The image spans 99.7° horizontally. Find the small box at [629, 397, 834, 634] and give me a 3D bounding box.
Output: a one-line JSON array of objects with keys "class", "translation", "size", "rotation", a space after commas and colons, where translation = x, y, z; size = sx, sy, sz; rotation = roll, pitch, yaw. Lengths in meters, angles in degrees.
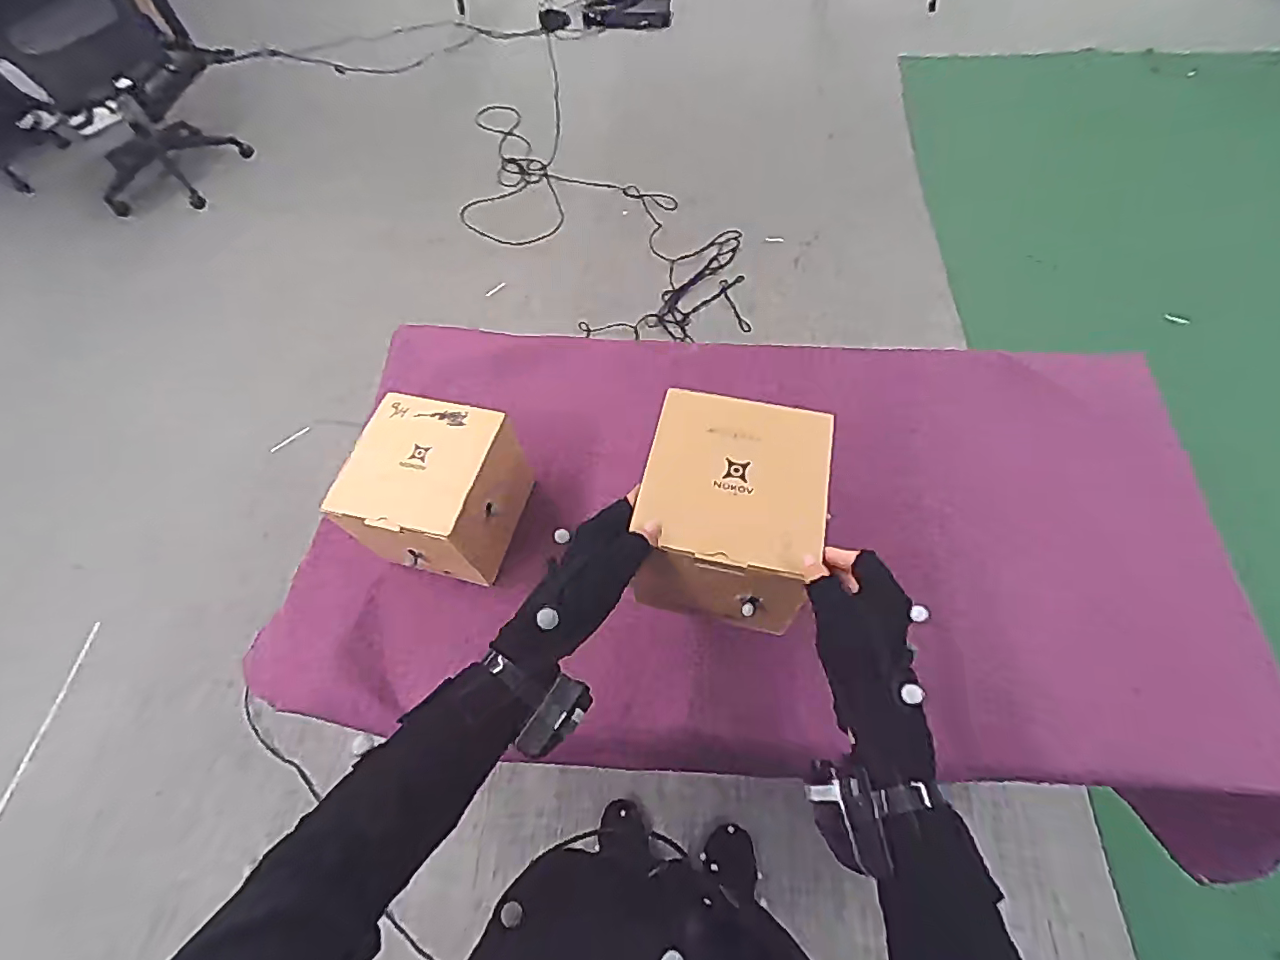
[{"class": "small box", "translation": [0.093, 0.044, 0.564], "size": [0.168, 0.176, 0.179], "rotation": [11, 59, 9]}]

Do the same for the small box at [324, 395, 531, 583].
[{"class": "small box", "translation": [-0.259, 0.019, 0.712], "size": [0.168, 0.176, 0.179], "rotation": [12, 63, 10]}]
